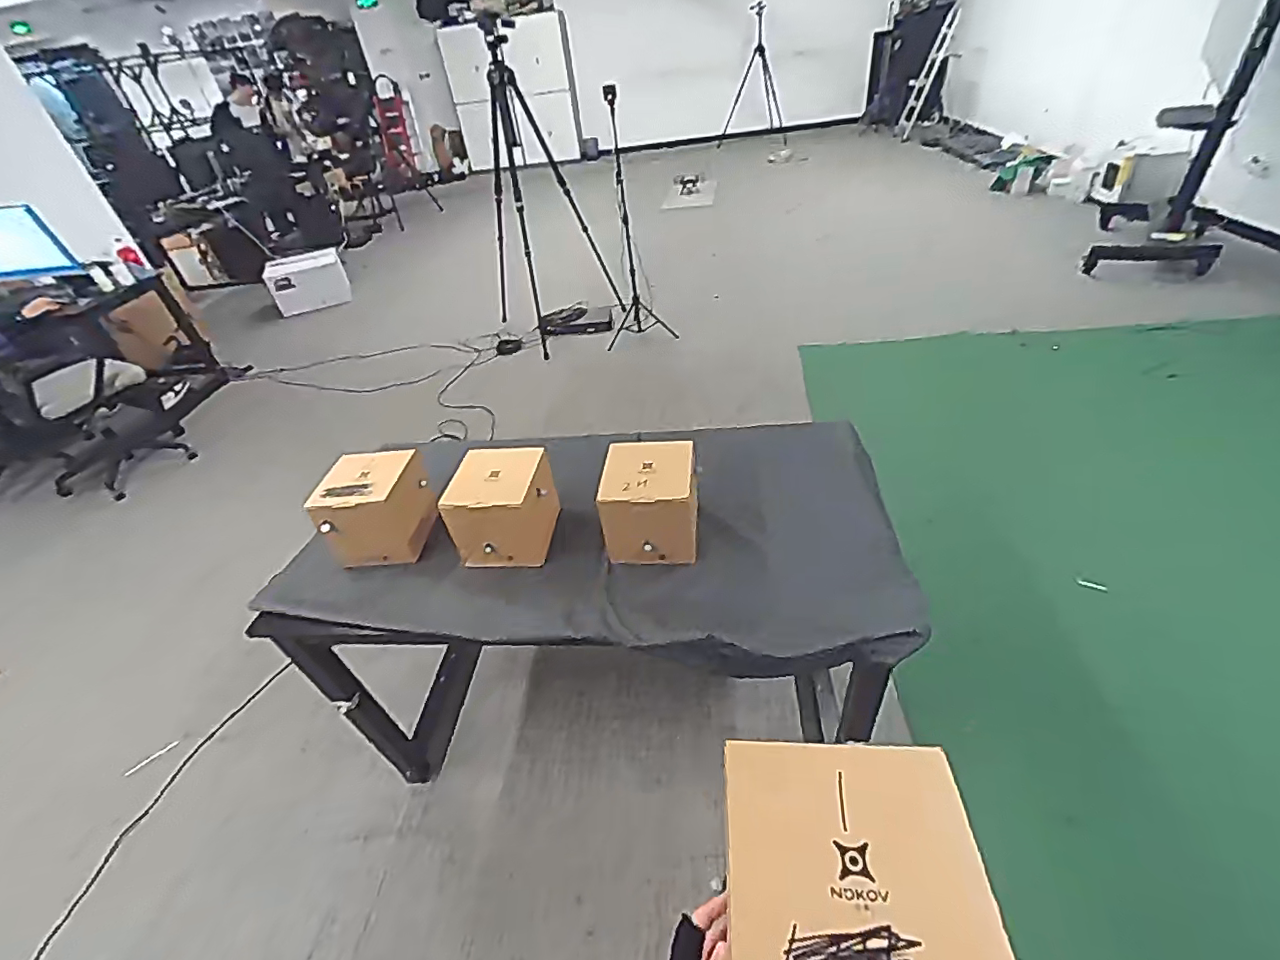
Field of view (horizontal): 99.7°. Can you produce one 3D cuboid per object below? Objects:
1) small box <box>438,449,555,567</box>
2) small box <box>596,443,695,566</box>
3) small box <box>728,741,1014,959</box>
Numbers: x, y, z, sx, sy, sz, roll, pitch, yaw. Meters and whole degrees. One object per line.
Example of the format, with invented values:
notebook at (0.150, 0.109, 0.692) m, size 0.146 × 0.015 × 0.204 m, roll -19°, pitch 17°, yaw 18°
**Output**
small box at (-0.277, 0.054, 1.093) m, size 0.168 × 0.176 × 0.179 m, roll -1°, pitch 40°, yaw 8°
small box at (0.019, 0.045, 1.052) m, size 0.168 × 0.176 × 0.179 m, roll -1°, pitch 40°, yaw 9°
small box at (0.152, 0.323, 0.404) m, size 0.168 × 0.176 × 0.179 m, roll -1°, pitch 38°, yaw 9°
